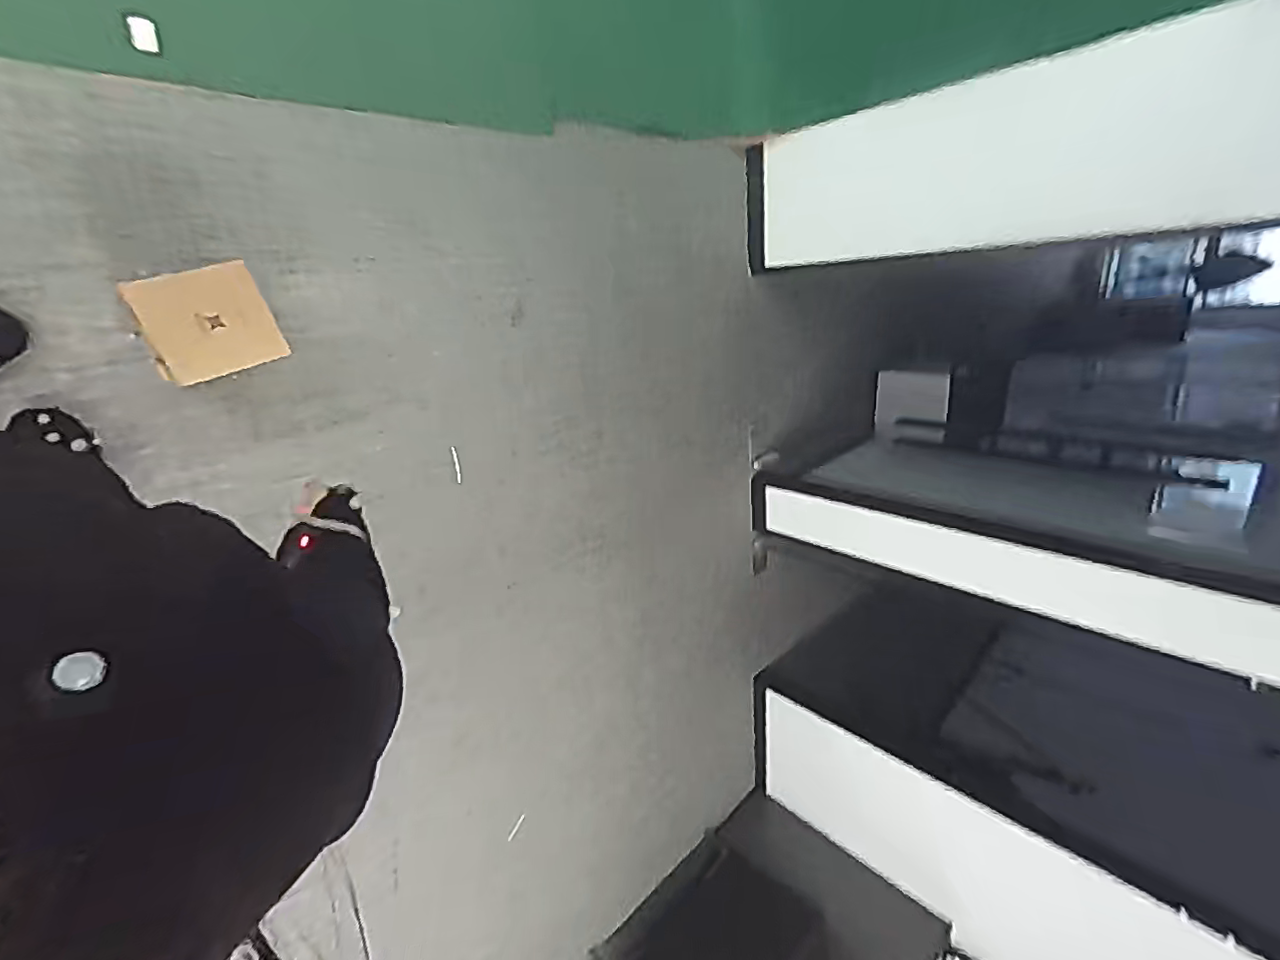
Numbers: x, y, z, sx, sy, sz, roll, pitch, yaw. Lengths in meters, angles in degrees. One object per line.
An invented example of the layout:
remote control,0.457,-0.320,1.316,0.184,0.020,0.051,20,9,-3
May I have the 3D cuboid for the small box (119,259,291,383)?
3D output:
small box,-0.756,-0.277,0.946,0.179,0.176,0.168,-32,123,-34
